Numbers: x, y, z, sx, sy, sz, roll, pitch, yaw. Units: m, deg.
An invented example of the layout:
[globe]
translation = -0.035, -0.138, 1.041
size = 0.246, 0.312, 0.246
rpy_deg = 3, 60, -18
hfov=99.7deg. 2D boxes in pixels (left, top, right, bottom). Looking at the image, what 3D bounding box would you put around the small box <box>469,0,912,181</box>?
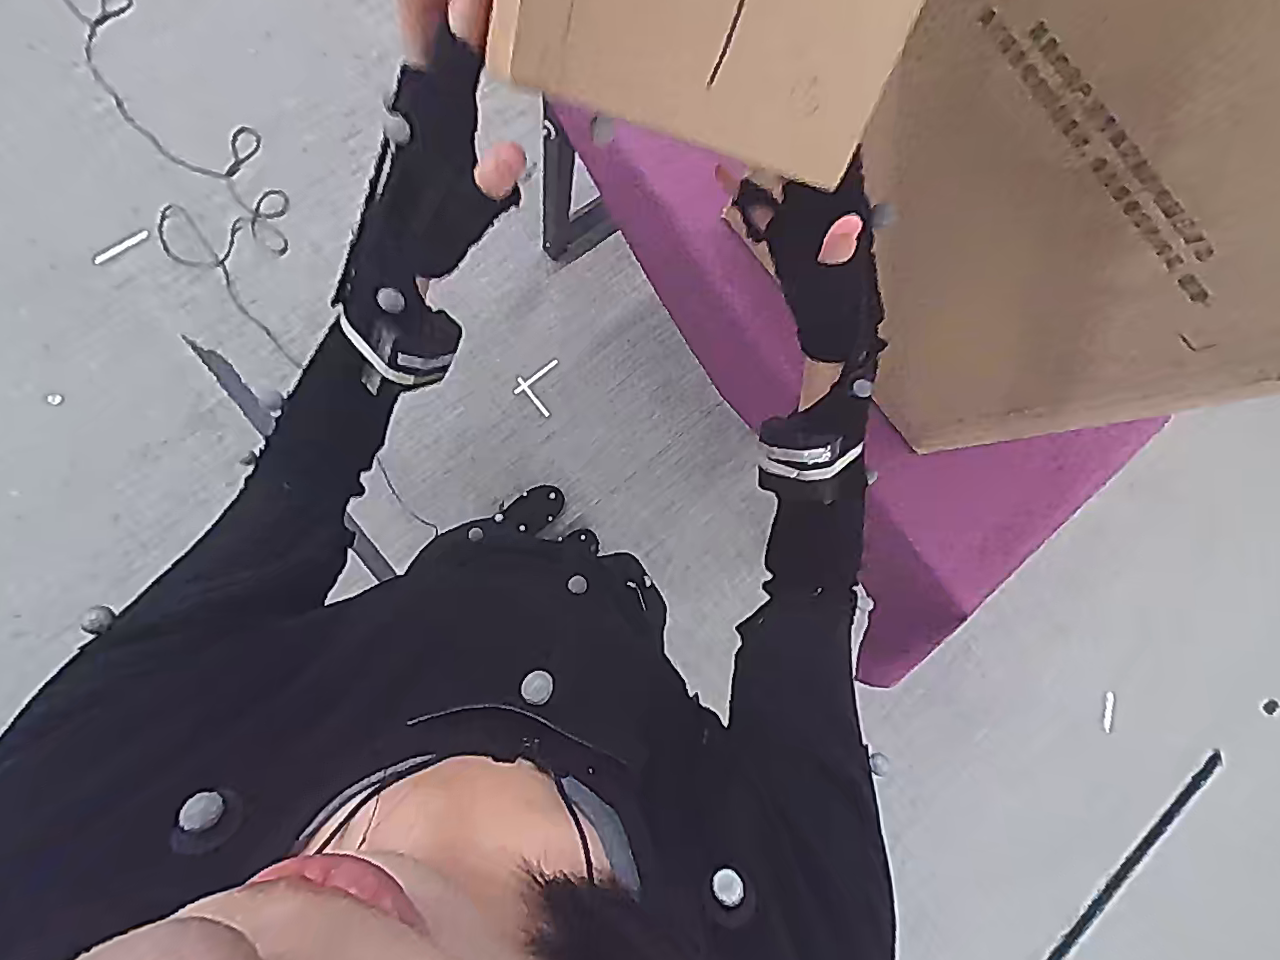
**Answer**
[small box]
translation = 0.019, -0.267, 0.251
size = 0.168, 0.176, 0.179
rpy_deg = 1, 125, -25
